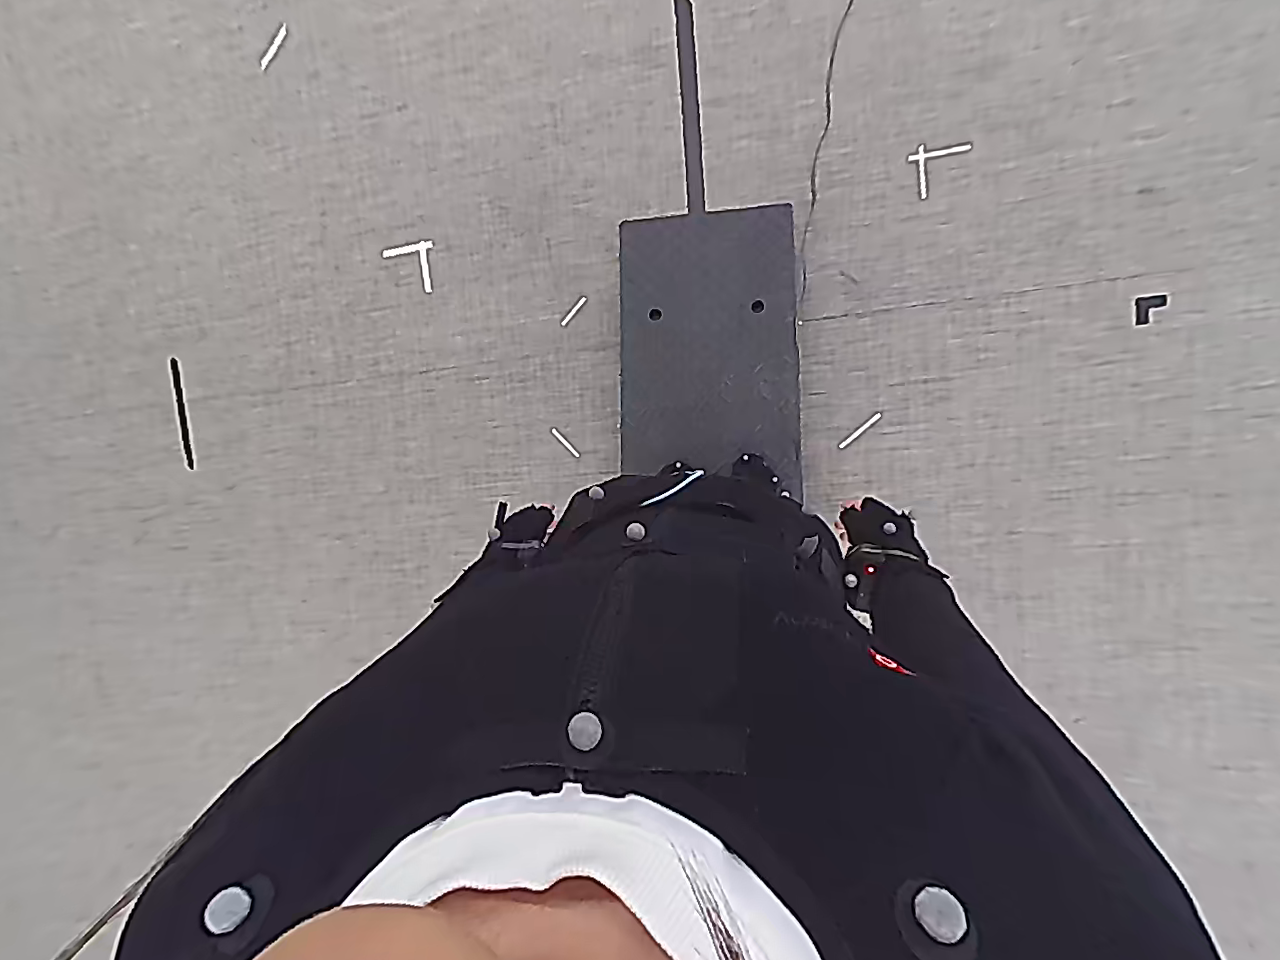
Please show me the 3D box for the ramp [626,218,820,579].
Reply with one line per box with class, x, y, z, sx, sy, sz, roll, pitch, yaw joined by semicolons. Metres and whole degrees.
ramp;0.209;-0.233;1.504;0.509;0.206;0.991;-5;92;12
